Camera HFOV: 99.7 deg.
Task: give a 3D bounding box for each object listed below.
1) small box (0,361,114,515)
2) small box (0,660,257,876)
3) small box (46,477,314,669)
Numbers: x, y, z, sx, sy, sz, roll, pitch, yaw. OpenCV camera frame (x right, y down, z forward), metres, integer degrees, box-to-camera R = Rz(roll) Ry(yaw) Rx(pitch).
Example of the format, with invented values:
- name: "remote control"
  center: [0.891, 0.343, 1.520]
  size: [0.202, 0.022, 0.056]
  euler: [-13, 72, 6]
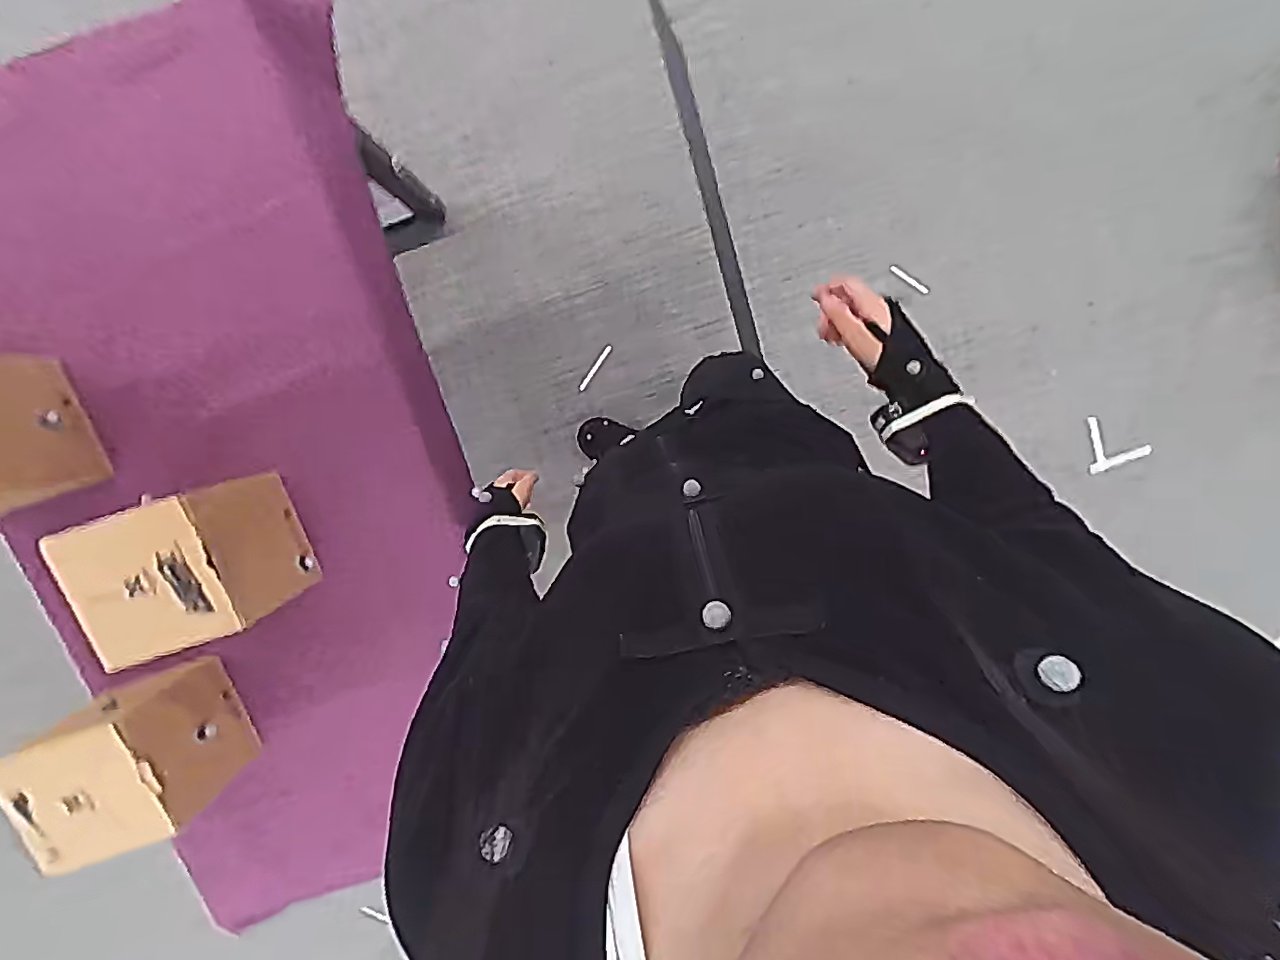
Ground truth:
- name: "small box"
  center: [-0.823, -0.041, 0.657]
  size: [0.179, 0.176, 0.168]
  euler: [-19, 101, 1]
- name: "small box"
  center: [-0.667, 0.373, 0.732]
  size: [0.179, 0.176, 0.168]
  euler: [-19, 99, 0]
- name: "small box"
  center: [-0.555, 0.105, 0.689]
  size: [0.179, 0.176, 0.168]
  euler: [-18, 100, 3]
